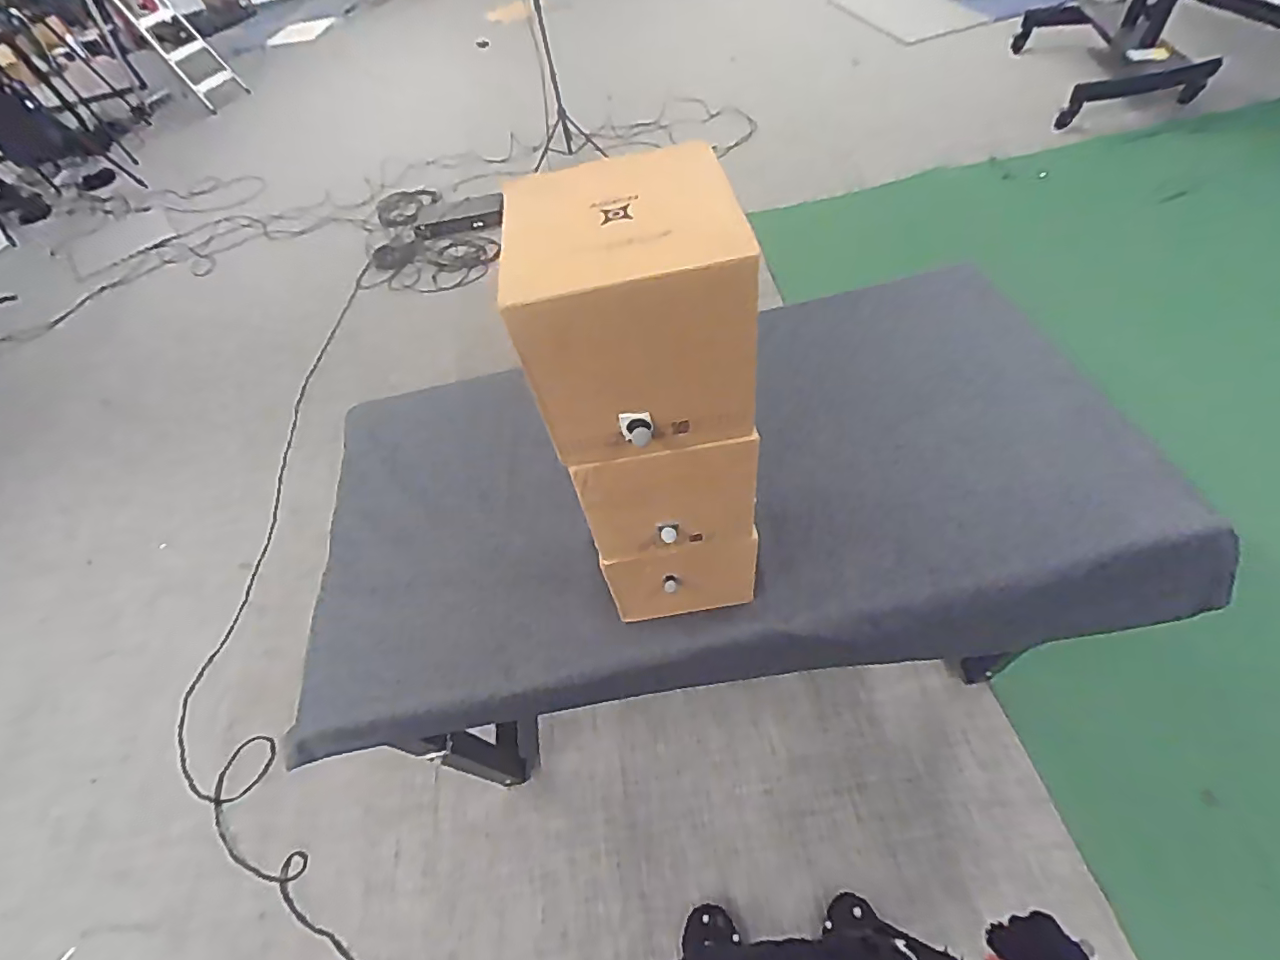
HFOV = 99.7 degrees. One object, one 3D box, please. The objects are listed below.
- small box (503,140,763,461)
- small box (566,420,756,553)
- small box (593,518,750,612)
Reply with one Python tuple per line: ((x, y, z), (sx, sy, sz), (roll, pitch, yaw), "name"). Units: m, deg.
((-0.003, -0.142, 0.446), (0.168, 0.176, 0.179), (-10, 54, 3), "small box")
((0.020, -0.045, 0.573), (0.168, 0.176, 0.179), (-8, 54, 3), "small box")
((0.040, 0.057, 0.700), (0.179, 0.176, 0.168), (-9, 53, 2), "small box")
